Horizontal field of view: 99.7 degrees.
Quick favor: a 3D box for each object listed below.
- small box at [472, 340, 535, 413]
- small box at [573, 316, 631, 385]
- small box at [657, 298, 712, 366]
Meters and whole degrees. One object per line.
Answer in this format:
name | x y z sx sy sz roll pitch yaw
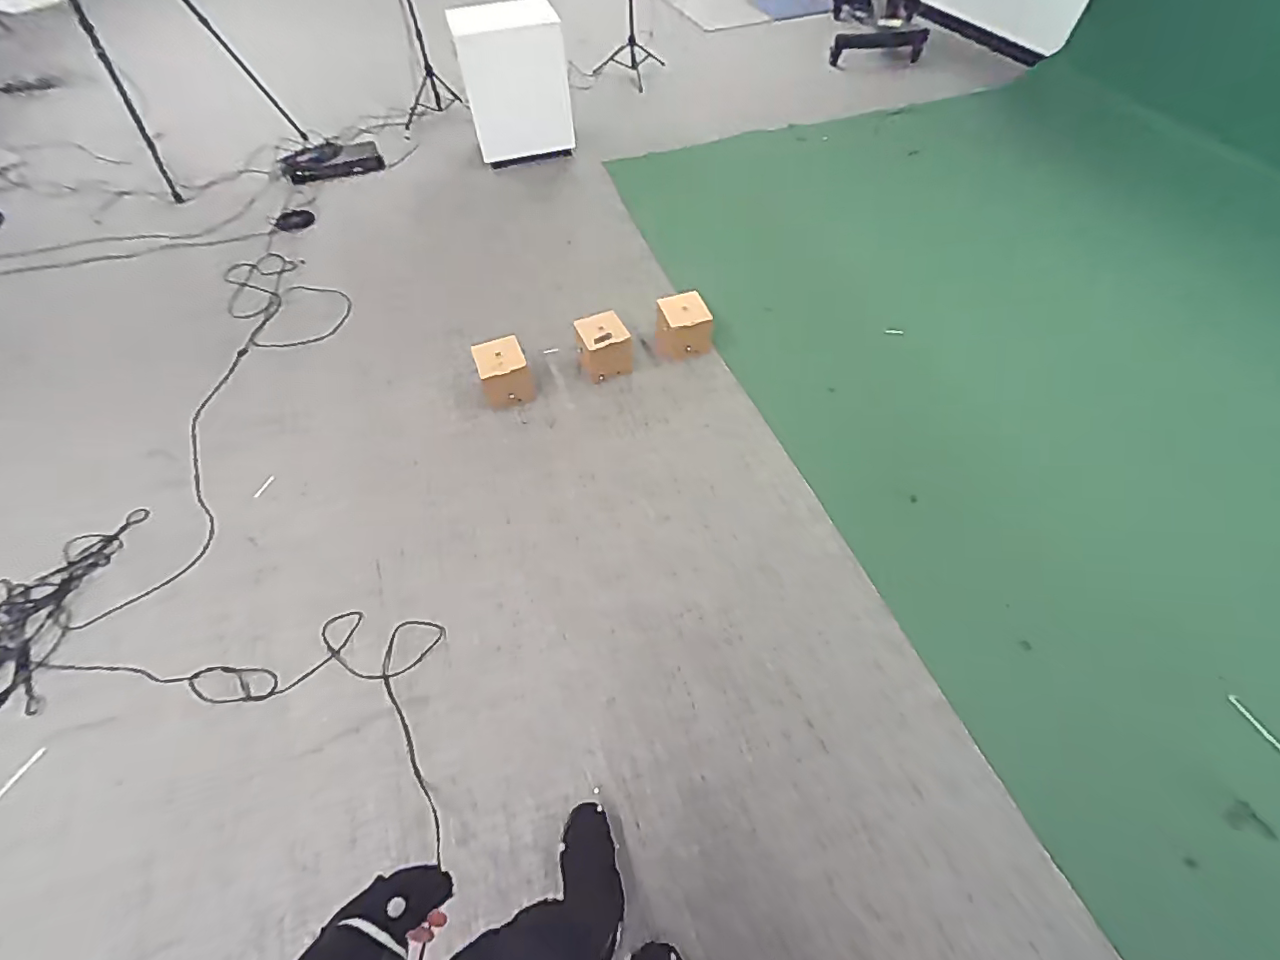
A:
small box | -0.491 -0.372 1.955 0.168 0.176 0.179 -19 58 -11
small box | -0.139 -0.480 2.028 0.168 0.176 0.179 -20 57 -13
small box | 0.165 -0.572 2.091 0.168 0.176 0.179 -16 57 -10
